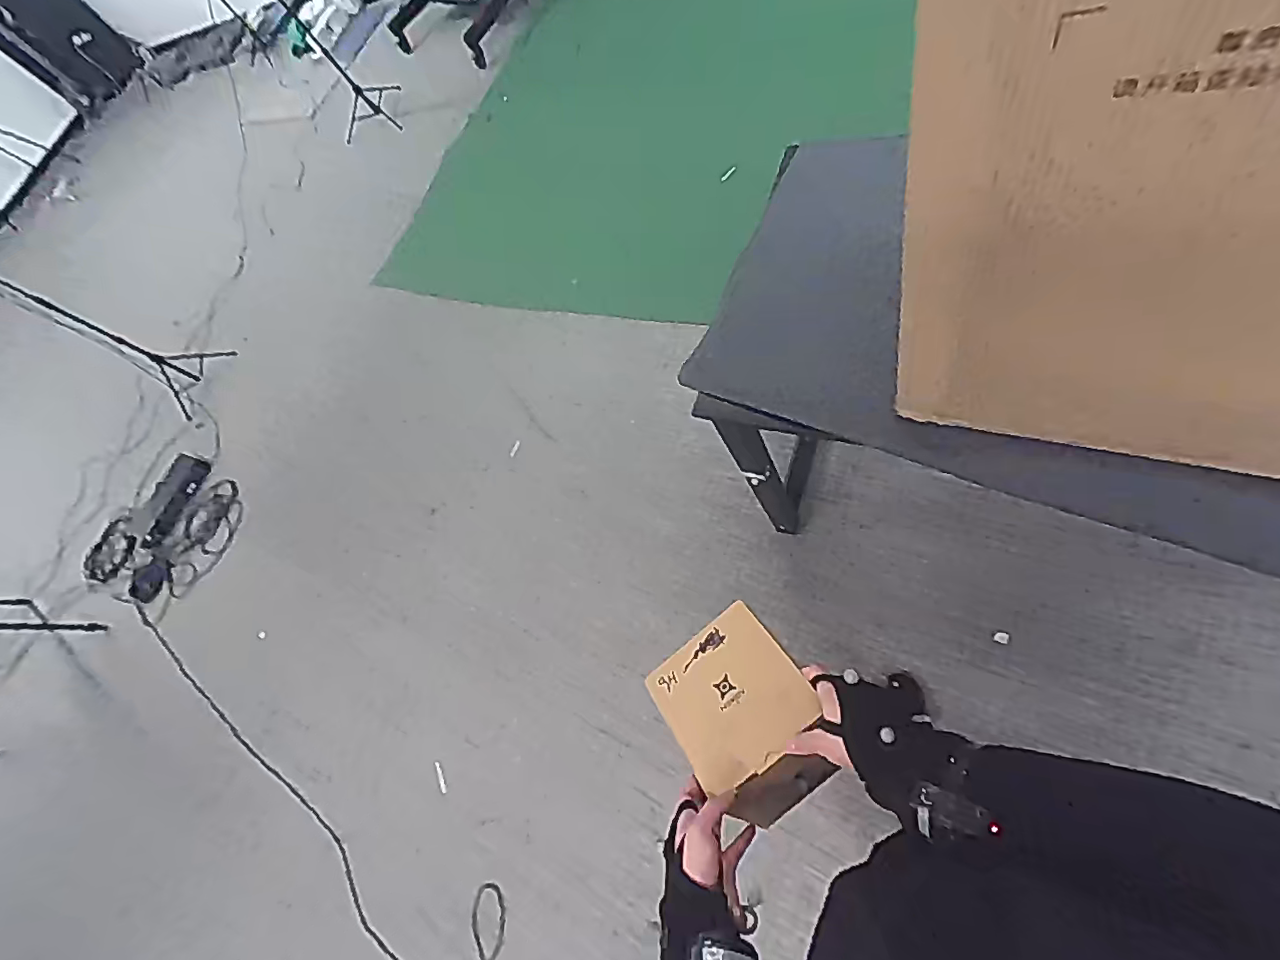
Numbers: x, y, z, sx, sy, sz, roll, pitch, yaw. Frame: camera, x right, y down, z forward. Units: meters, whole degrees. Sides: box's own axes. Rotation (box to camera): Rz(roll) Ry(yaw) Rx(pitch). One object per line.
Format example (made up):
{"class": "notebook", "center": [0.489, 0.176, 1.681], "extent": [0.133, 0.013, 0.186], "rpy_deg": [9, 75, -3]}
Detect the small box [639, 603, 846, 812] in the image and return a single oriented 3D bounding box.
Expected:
{"class": "small box", "center": [0.135, 0.299, 0.698], "extent": [0.168, 0.176, 0.179], "rpy_deg": [-41, 43, 1]}
